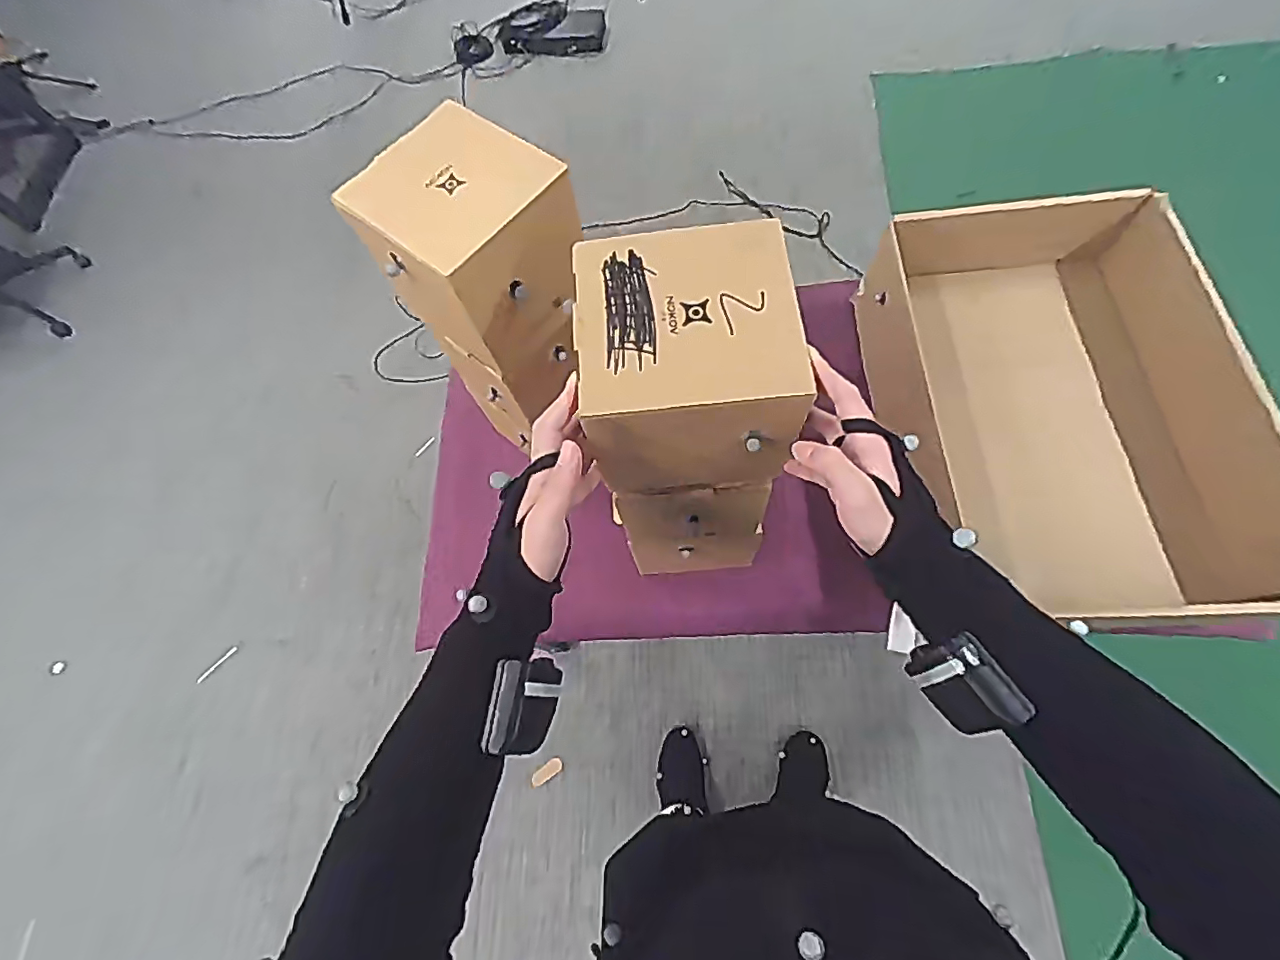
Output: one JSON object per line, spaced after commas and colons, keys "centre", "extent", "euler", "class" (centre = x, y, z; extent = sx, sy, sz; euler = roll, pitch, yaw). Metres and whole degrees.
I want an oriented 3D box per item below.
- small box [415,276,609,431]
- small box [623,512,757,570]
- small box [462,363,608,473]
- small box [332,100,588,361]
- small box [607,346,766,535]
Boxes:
{"centre": [-0.160, -0.198, 0.743], "extent": [0.168, 0.176, 0.179], "euler": [38, 76, 17], "class": "small box"}
{"centre": [0.070, 0.032, 0.803], "extent": [0.179, 0.176, 0.168], "euler": [-5, 67, 3], "class": "small box"}
{"centre": [-0.151, -0.133, 0.892], "extent": [0.179, 0.176, 0.168], "euler": [38, 76, 18], "class": "small box"}
{"centre": [-0.179, -0.258, 0.594], "extent": [0.179, 0.176, 0.168], "euler": [37, 76, 17], "class": "small box"}
{"centre": [0.054, -0.036, 0.655], "extent": [0.168, 0.176, 0.179], "euler": [-4, 67, 4], "class": "small box"}
